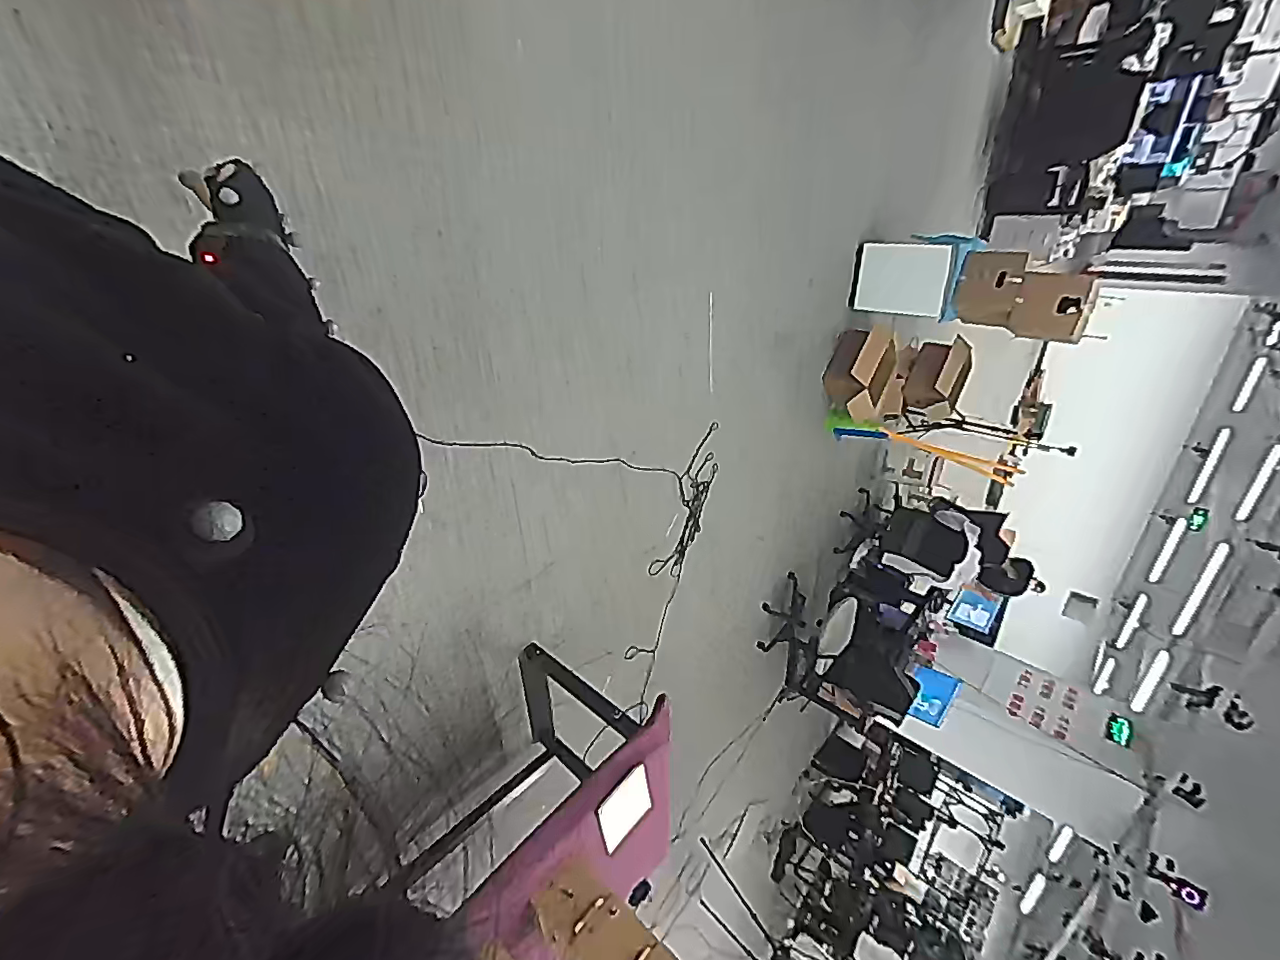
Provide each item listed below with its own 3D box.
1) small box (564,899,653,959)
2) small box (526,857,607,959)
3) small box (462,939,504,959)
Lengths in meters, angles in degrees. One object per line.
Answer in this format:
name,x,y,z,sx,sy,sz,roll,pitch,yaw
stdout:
small box,-0.083,1.252,1.409,0.168,0.176,0.179,-26,126,-41
small box,-0.204,1.209,1.513,0.168,0.176,0.179,-26,125,-40
small box,-0.389,1.297,1.329,0.168,0.176,0.179,-26,127,-41
